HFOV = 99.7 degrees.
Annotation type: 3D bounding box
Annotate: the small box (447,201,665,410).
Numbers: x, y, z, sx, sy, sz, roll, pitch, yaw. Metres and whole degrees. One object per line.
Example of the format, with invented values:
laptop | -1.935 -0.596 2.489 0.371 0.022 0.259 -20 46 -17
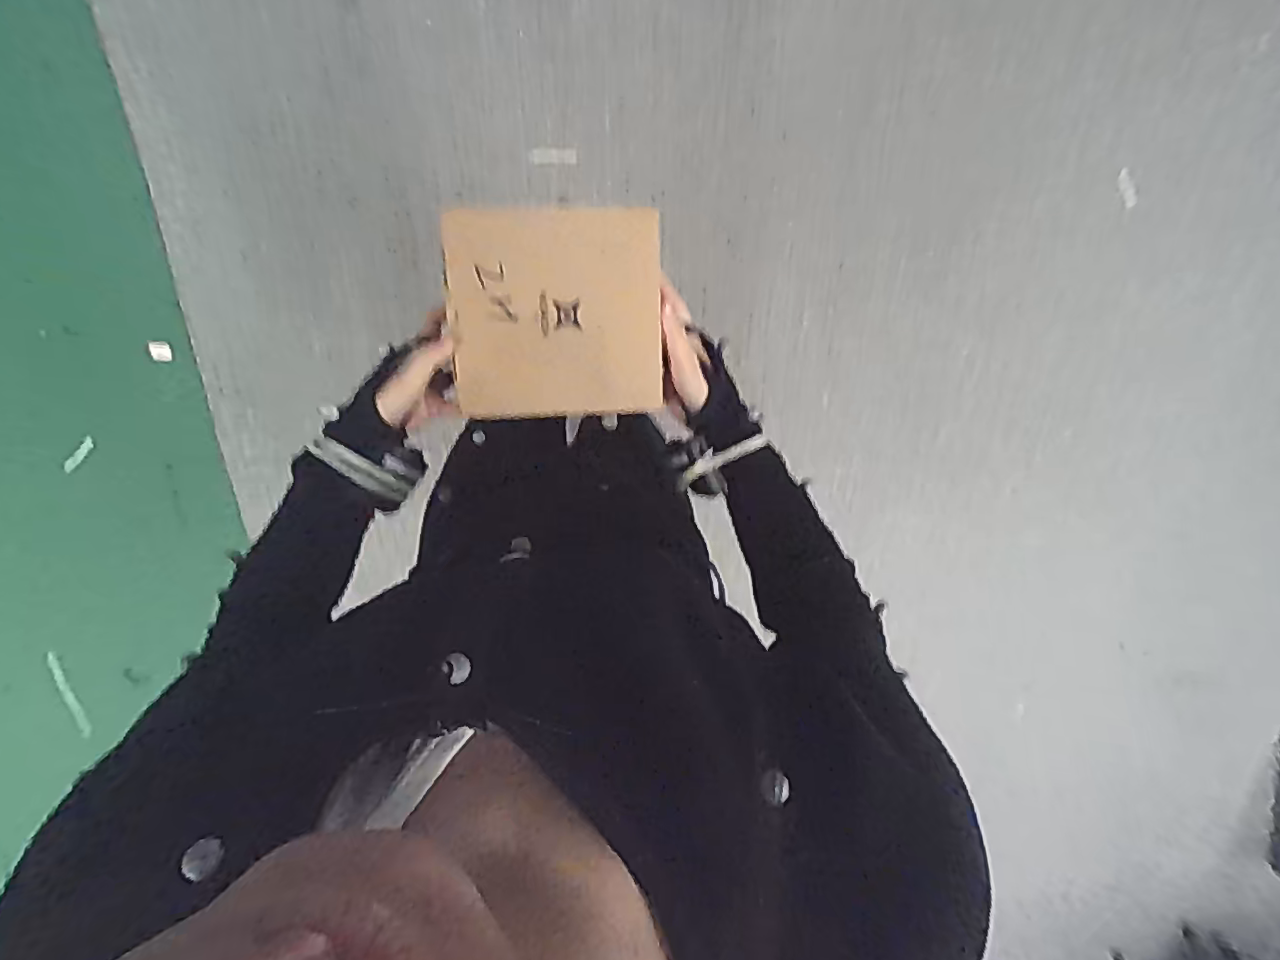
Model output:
small box | -0.076 -0.159 0.527 0.179 0.176 0.168 -2 102 -6
